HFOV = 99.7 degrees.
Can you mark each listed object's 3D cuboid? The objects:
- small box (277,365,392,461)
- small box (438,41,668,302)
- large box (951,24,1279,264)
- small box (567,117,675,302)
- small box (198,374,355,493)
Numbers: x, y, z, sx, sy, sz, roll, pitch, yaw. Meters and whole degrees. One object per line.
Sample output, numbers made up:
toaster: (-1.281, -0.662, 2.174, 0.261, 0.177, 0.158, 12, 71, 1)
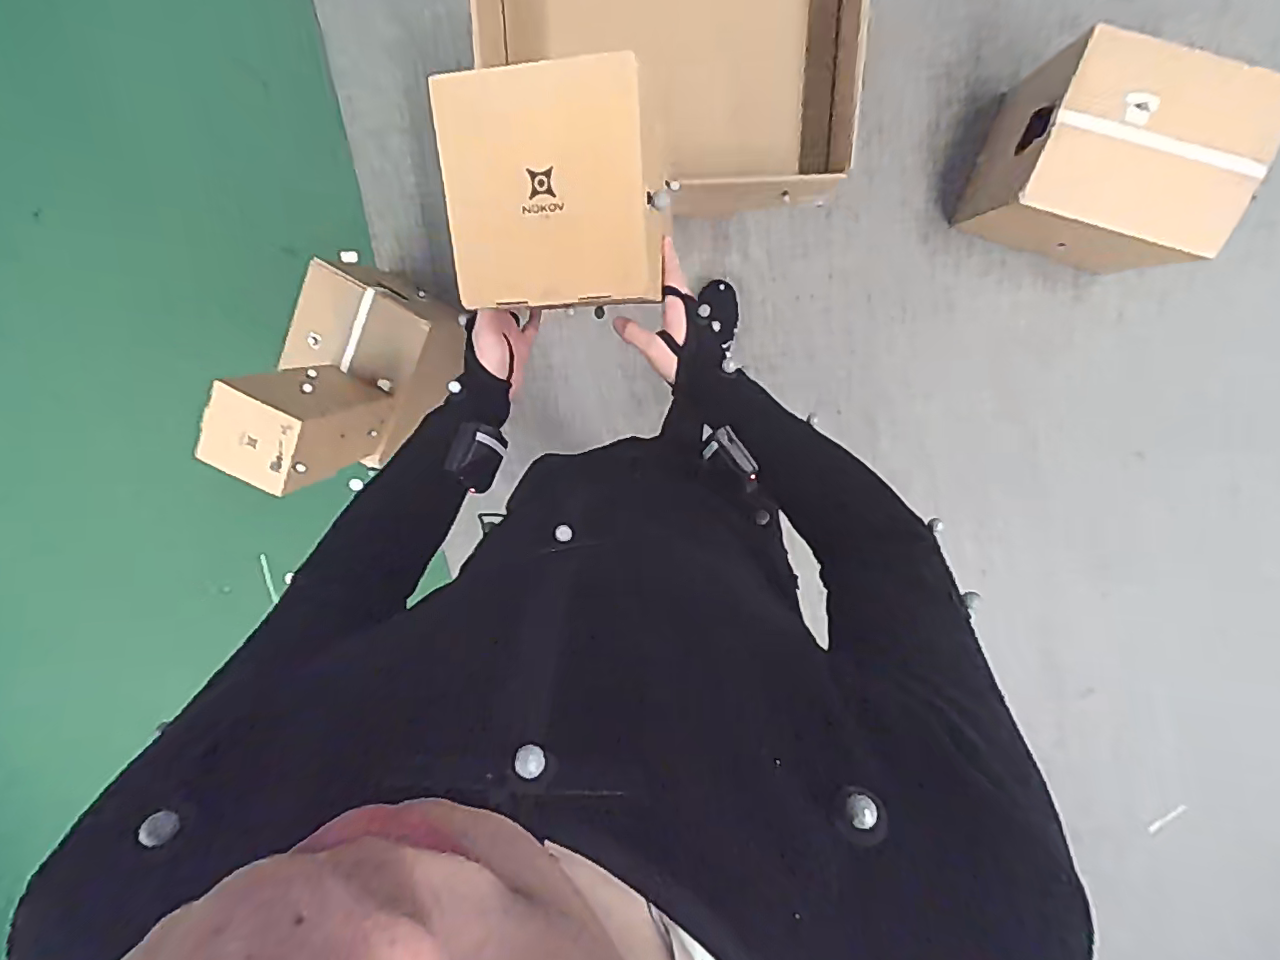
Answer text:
small box: (-0.709, -0.152, 1.233, 0.179, 0.176, 0.168, 27, 107, -4)
small box: (-0.063, -0.265, 0.509, 0.168, 0.176, 0.179, -2, 108, 8)
large box: (0.986, -0.681, 1.163, 0.408, 0.320, 0.320, 17, 107, 2)
small box: (-0.044, -0.314, 0.663, 0.168, 0.176, 0.179, -1, 109, 7)
small box: (-0.714, -0.101, 1.077, 0.179, 0.176, 0.168, 27, 107, -3)
